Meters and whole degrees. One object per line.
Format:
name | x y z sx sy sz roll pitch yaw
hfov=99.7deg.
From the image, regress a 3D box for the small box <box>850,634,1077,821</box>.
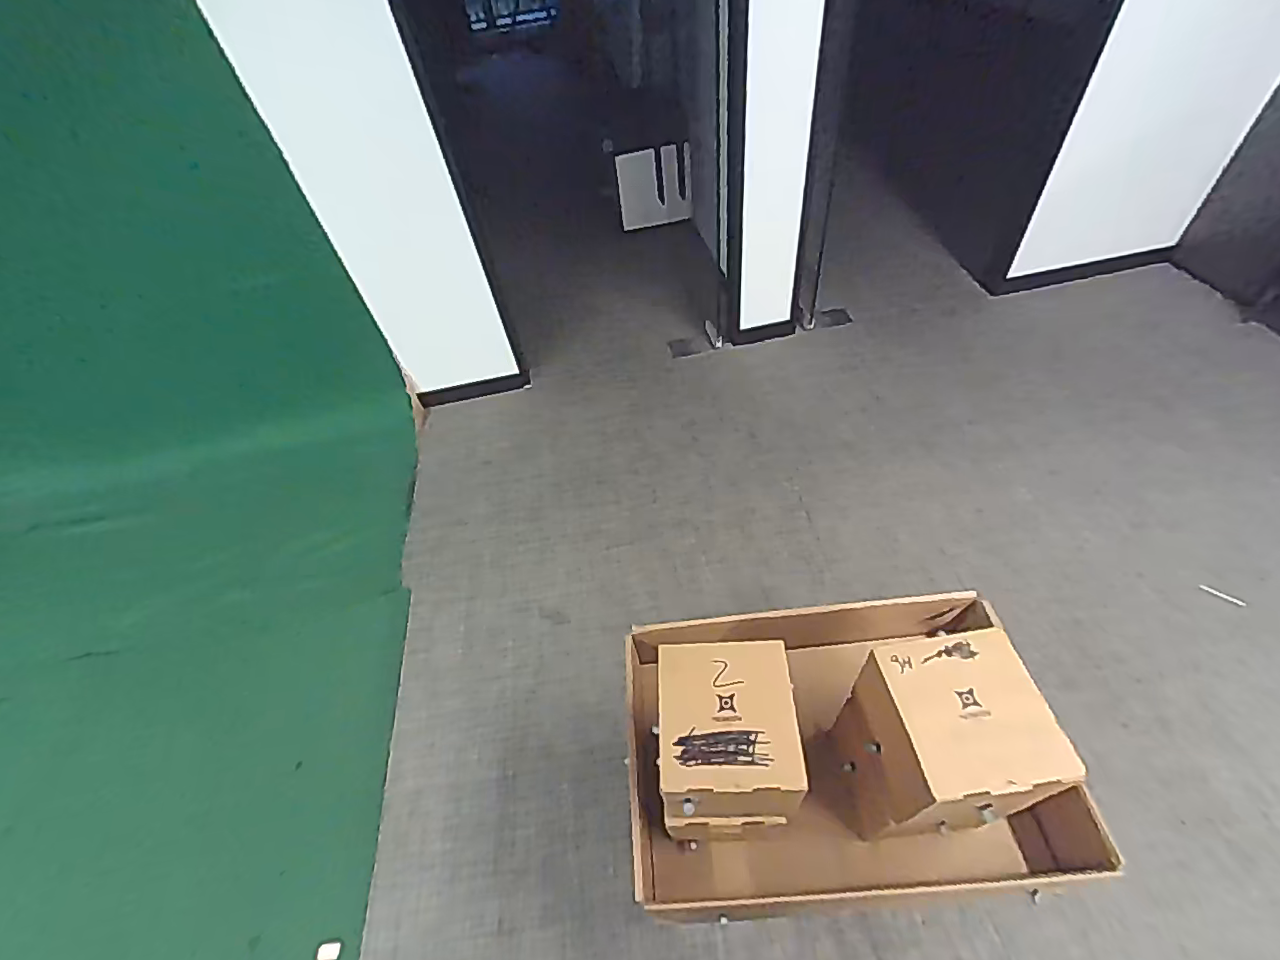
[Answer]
small box | 0.388 0.321 0.690 0.168 0.176 0.179 -8 50 1
